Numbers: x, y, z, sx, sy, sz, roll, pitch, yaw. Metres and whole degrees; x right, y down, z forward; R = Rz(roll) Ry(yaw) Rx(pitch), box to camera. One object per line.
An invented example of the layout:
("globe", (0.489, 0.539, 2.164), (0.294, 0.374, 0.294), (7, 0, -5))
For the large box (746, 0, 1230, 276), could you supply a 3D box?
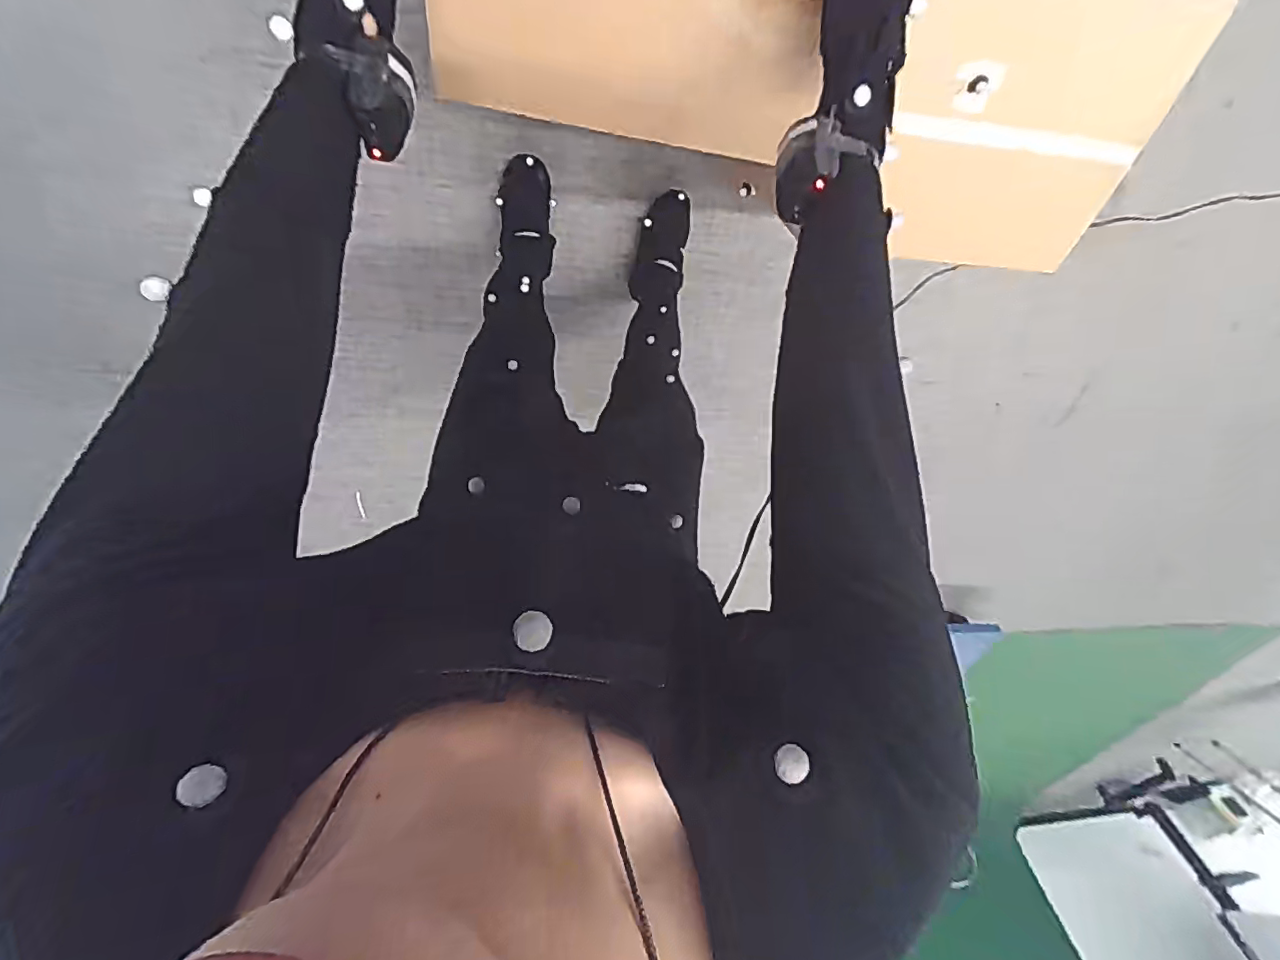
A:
("large box", (0.409, -0.514, 0.757), (0.408, 0.320, 0.320), (1, 134, -10))
